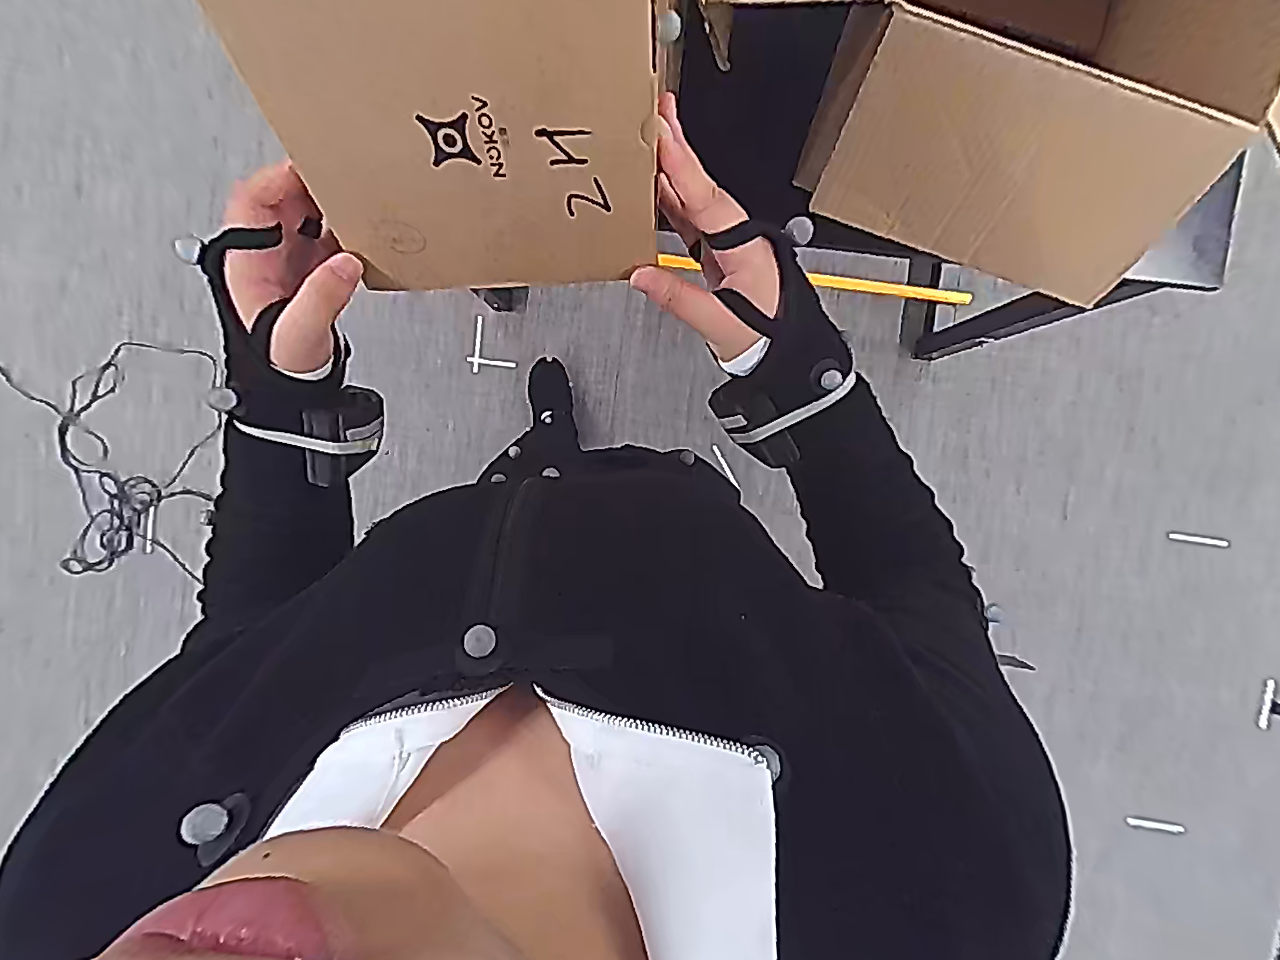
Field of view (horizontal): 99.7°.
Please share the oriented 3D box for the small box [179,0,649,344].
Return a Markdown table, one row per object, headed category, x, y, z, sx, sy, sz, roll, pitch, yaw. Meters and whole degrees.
| category | x | y | z | sx | sy | sz | roll | pitch | yaw |
| --- | --- | --- | --- | --- | --- | --- | --- | --- | --- |
| small box | -0.084 | -0.197 | 0.305 | 0.179 | 0.168 | 0.176 | -2 | 61 | 1 |
